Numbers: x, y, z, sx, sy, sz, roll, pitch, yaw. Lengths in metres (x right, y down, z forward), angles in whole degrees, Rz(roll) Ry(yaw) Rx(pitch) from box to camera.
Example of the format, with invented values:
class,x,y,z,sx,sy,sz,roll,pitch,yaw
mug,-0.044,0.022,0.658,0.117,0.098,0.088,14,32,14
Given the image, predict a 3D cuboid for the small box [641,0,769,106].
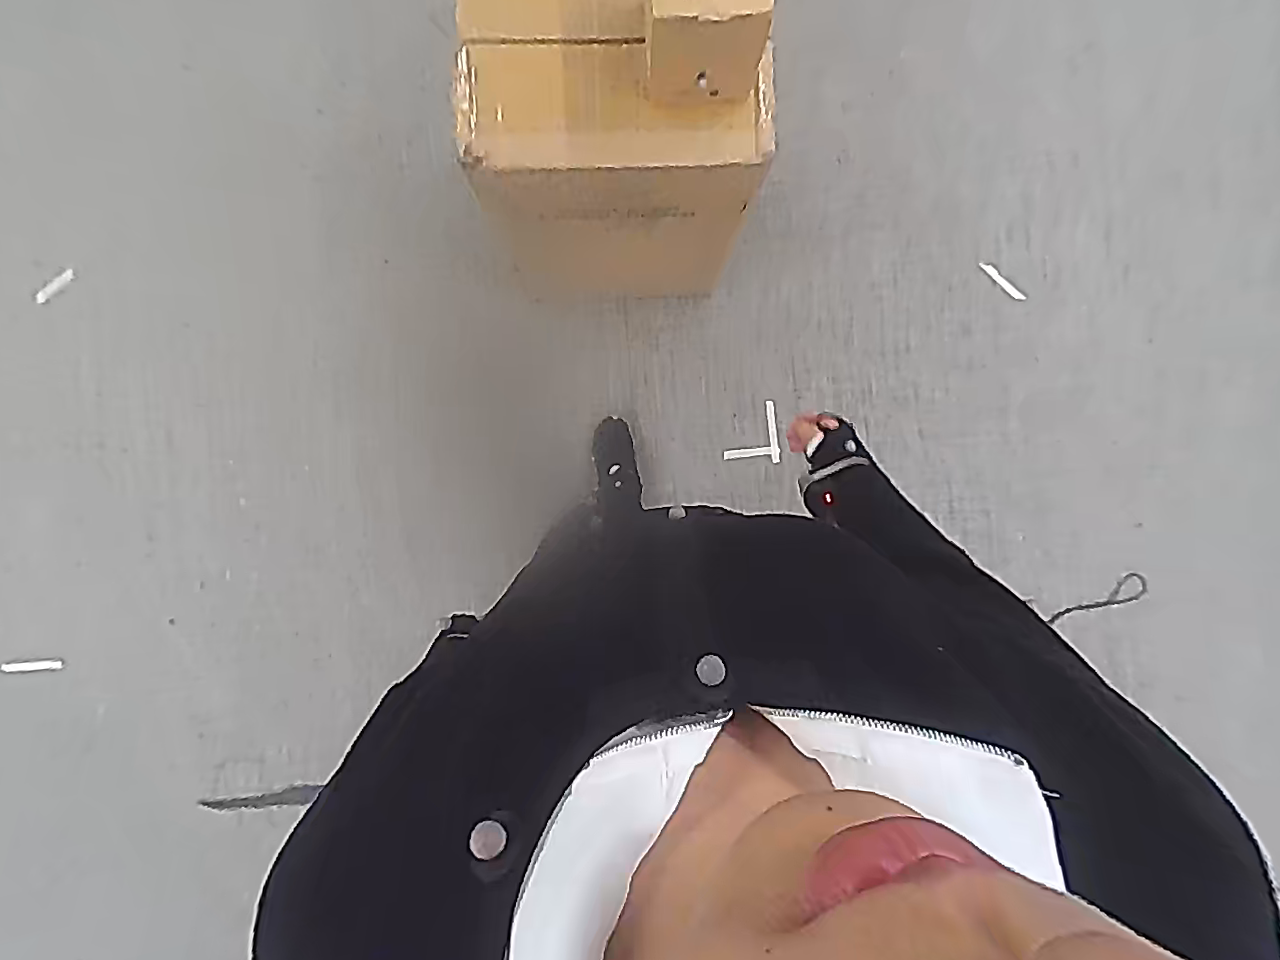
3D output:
class,x,y,z,sx,sy,sz,roll,pitch,yaw
small box,0.088,-0.703,0.809,0.168,0.176,0.179,-3,90,-1
